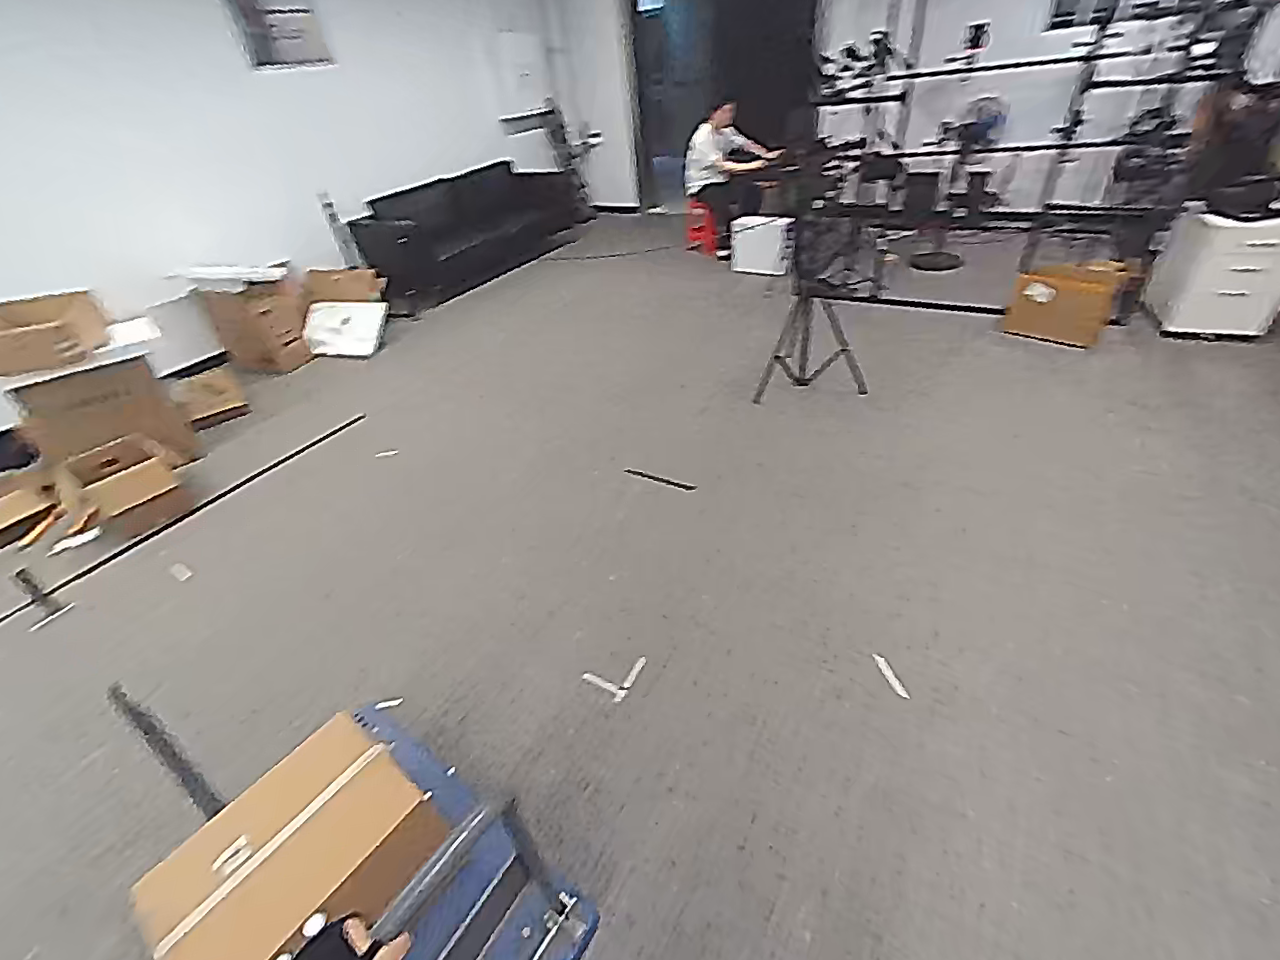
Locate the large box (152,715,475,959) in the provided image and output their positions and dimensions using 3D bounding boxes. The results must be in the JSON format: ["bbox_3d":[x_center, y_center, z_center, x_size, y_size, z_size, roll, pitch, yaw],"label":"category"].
[{"bbox_3d":[-0.618,0.785,1.090,0.320,0.320,0.408,20,46,33],"label":"large box"}]
